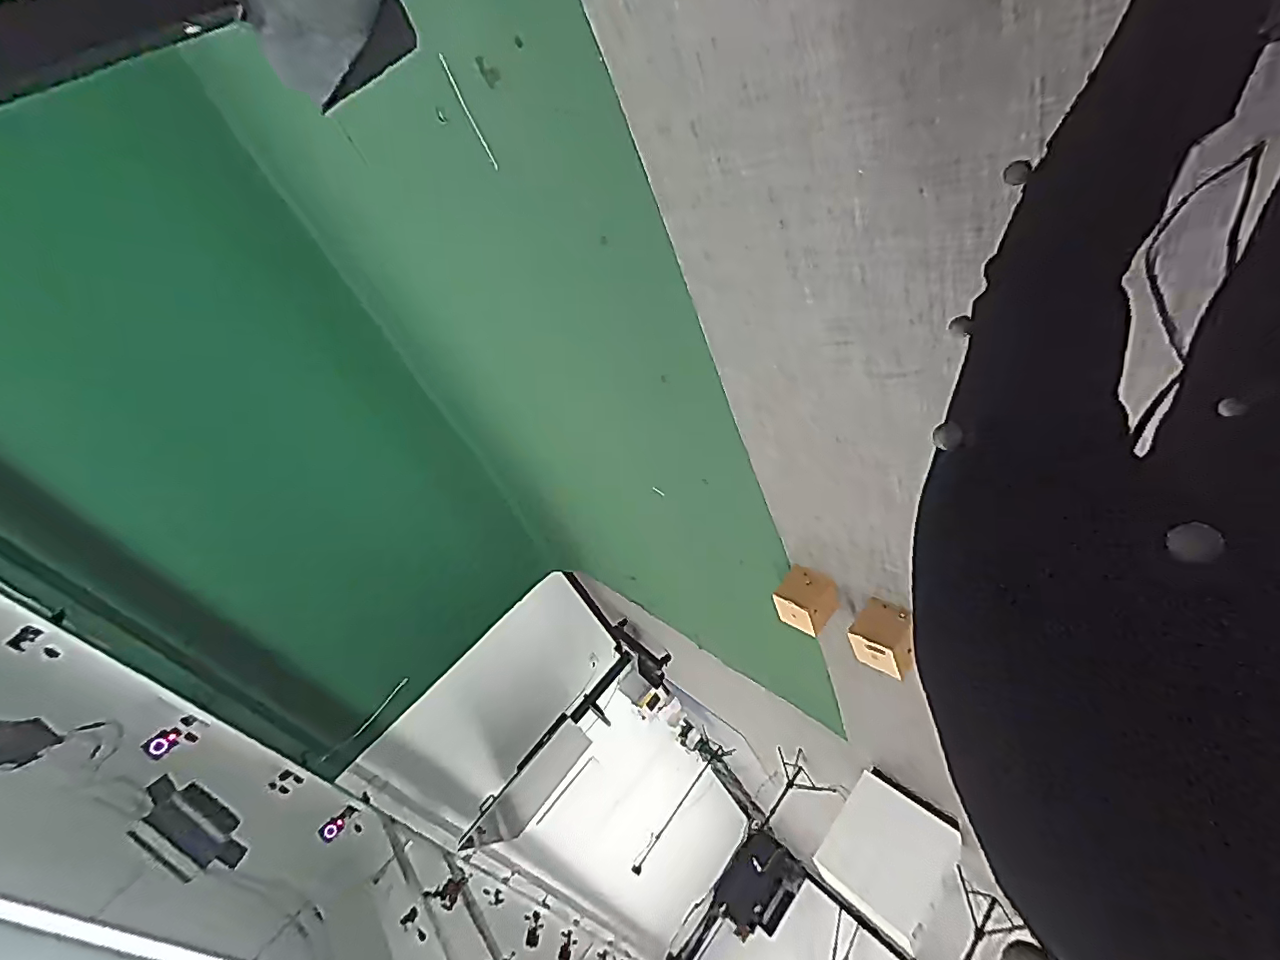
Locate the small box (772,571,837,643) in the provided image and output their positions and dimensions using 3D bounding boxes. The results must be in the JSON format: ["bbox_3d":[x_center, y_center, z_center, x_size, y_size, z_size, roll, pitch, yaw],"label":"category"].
[{"bbox_3d":[0.641,0.486,2.087,0.168,0.176,0.179,20,145,46],"label":"small box"}]

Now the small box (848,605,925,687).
[{"bbox_3d":[0.845,0.561,1.847,0.168,0.176,0.179,16,143,51],"label":"small box"}]
